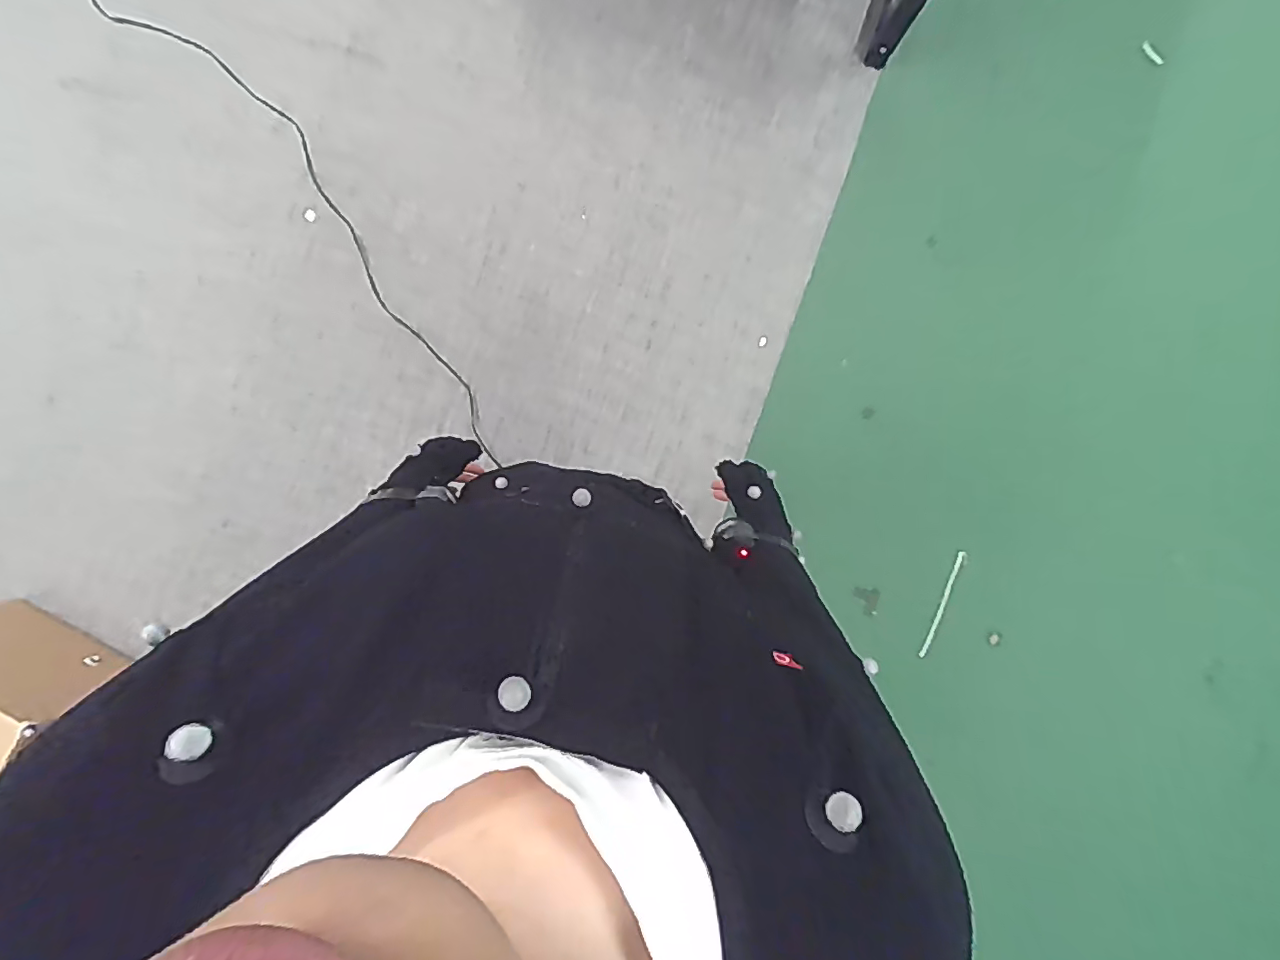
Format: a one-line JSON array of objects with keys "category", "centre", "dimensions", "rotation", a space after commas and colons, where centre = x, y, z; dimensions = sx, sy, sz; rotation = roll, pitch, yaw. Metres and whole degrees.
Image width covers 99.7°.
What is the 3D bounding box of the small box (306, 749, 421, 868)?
[{"category": "small box", "centre": [-0.674, 0.803, 1.342], "dimensions": [0.179, 0.176, 0.168], "rotation": [20, 90, 0]}]
